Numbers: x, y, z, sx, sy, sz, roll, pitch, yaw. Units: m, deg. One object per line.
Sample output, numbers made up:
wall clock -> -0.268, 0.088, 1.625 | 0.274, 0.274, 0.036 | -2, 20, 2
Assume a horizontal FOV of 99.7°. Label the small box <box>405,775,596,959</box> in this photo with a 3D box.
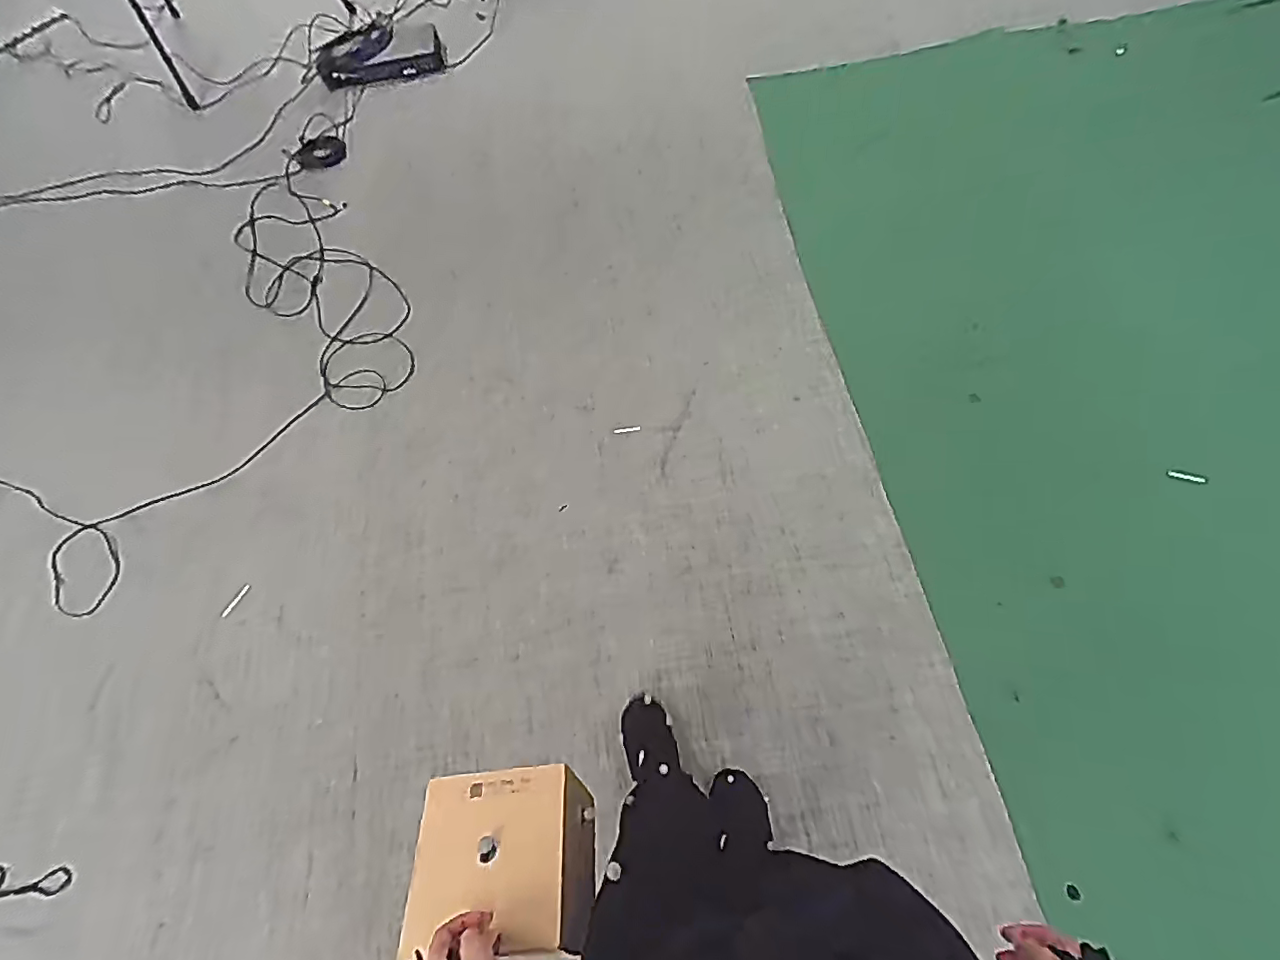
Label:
small box -> -0.151, 0.462, 0.636 | 0.168, 0.179, 0.176 | -9, 47, 2
